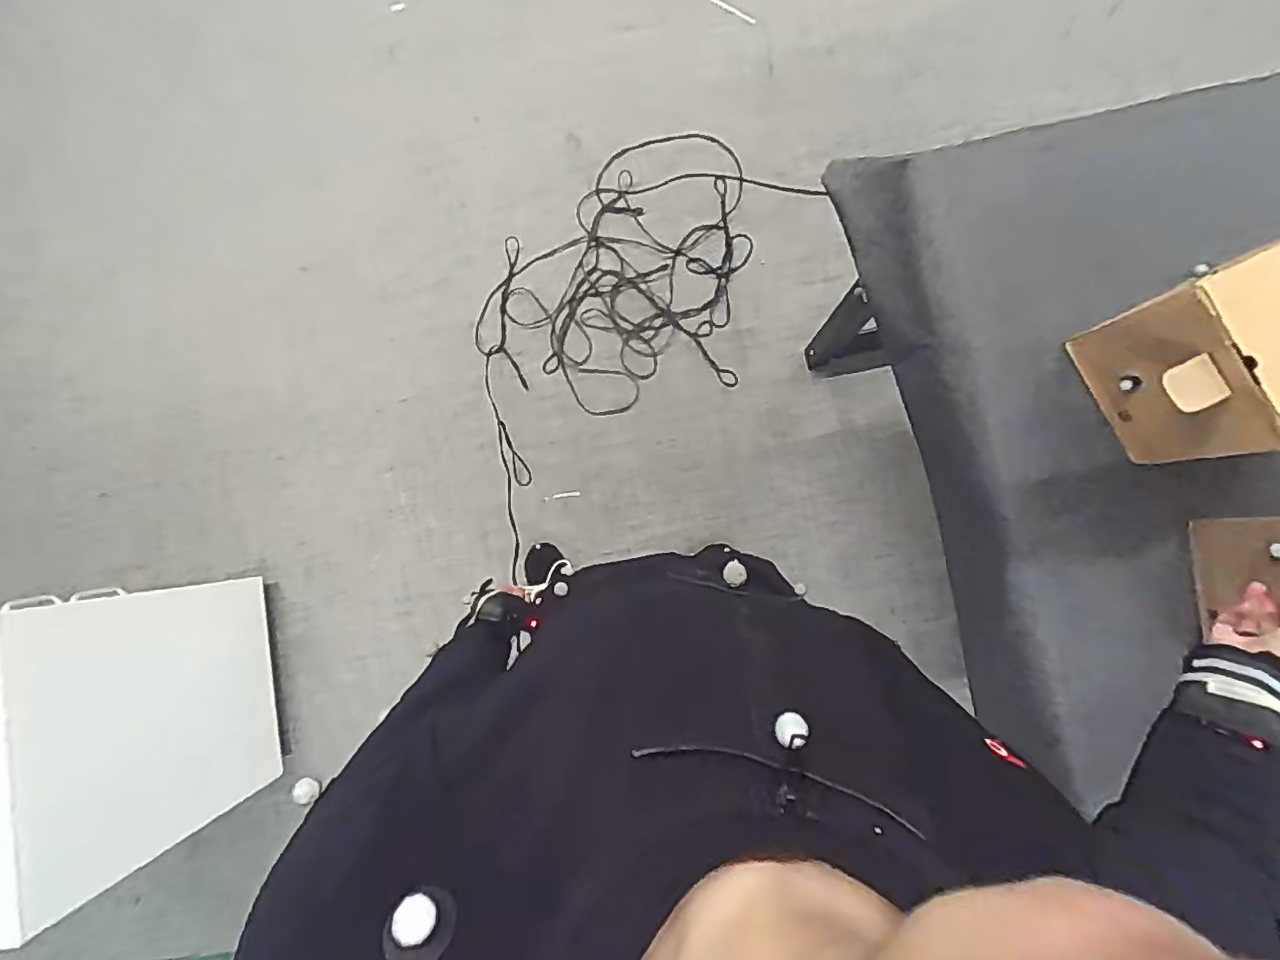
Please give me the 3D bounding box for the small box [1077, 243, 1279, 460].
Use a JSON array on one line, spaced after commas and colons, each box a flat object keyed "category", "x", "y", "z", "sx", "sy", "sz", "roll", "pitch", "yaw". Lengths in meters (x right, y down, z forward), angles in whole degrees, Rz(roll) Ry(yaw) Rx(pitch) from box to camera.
[{"category": "small box", "x": 0.614, "y": -0.133, "z": 0.548, "sx": 0.179, "sy": 0.176, "sz": 0.168, "roll": -27, "pitch": 84, "yaw": 1}]
